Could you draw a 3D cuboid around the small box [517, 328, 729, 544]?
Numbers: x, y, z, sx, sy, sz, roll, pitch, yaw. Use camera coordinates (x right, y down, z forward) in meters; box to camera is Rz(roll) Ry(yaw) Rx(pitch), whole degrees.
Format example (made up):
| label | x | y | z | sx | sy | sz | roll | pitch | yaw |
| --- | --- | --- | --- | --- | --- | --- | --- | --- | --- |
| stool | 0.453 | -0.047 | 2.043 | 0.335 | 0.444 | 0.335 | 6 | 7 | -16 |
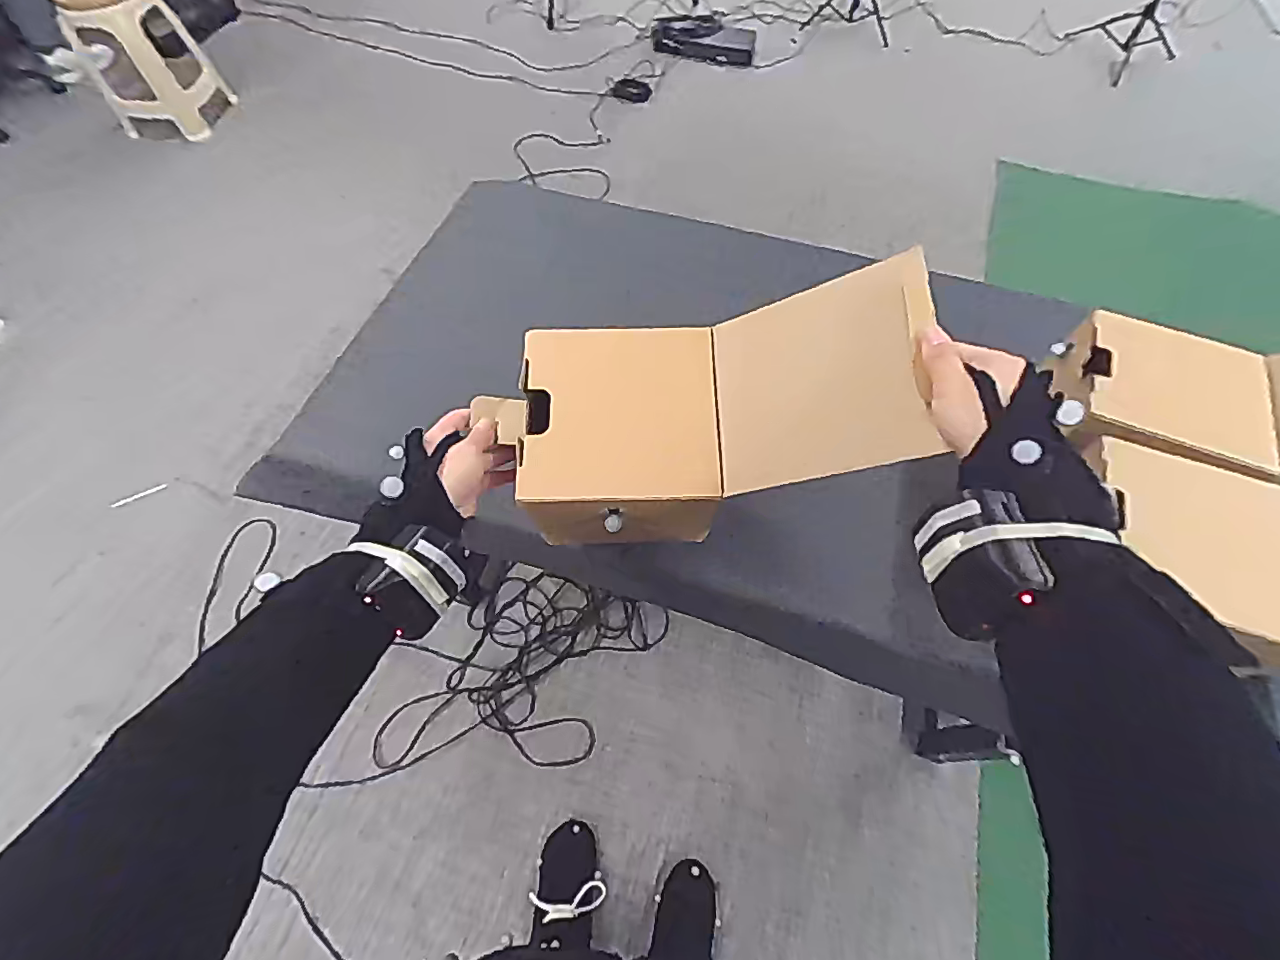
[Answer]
| label | x | y | z | sx | sy | sz | roll | pitch | yaw |
| --- | --- | --- | --- | --- | --- | --- | --- | --- | --- |
| small box | -0.013 | -0.034 | 0.540 | 0.179 | 0.176 | 0.168 | -1 | 72 | 1 |
